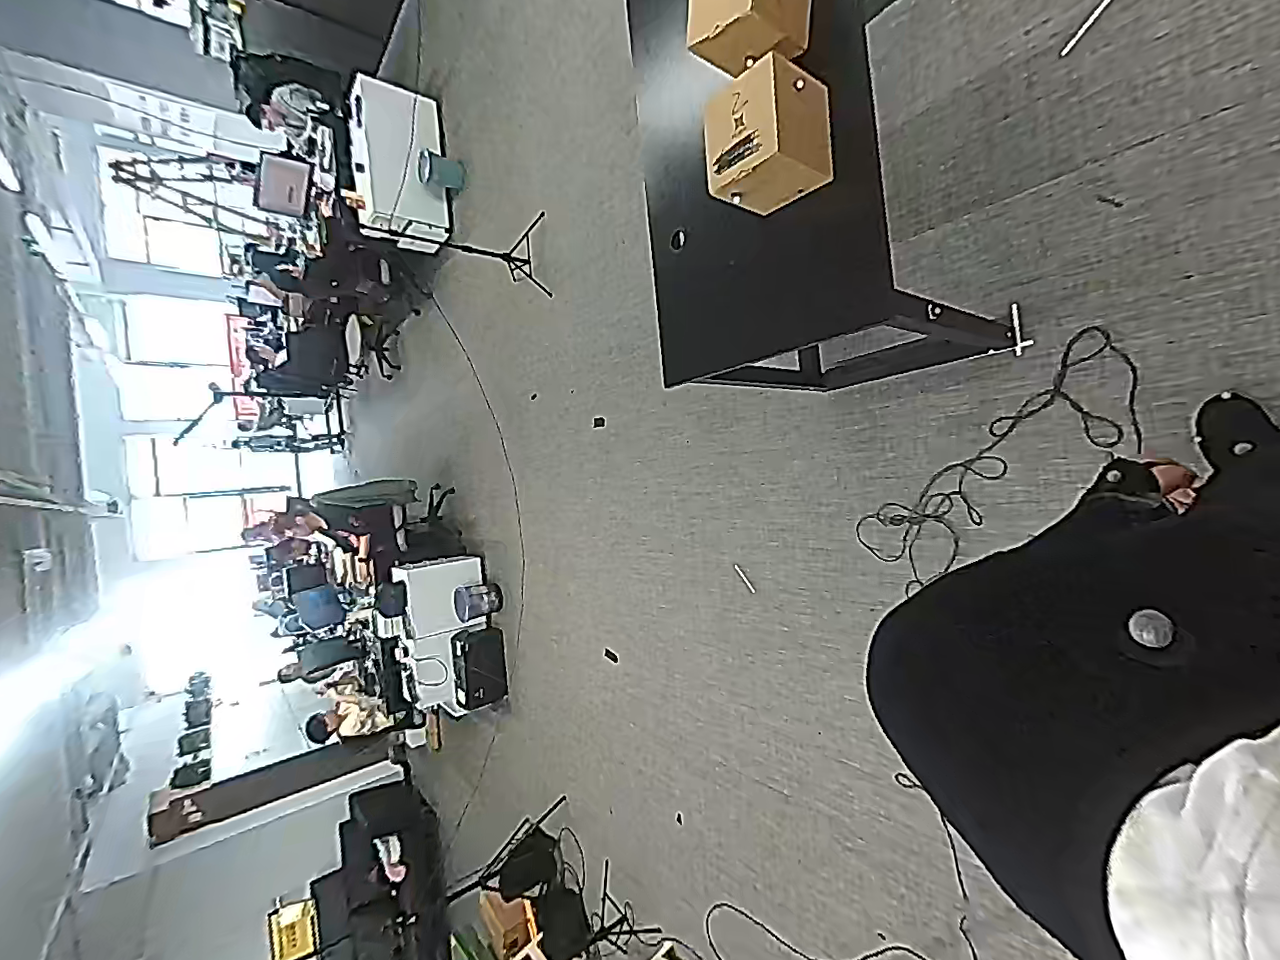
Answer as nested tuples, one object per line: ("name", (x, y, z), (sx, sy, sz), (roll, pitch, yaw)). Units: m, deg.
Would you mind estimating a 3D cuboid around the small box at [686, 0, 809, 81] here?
("small box", (0.208, -0.914, 1.030), (0.168, 0.176, 0.179), (16, 107, 50))
